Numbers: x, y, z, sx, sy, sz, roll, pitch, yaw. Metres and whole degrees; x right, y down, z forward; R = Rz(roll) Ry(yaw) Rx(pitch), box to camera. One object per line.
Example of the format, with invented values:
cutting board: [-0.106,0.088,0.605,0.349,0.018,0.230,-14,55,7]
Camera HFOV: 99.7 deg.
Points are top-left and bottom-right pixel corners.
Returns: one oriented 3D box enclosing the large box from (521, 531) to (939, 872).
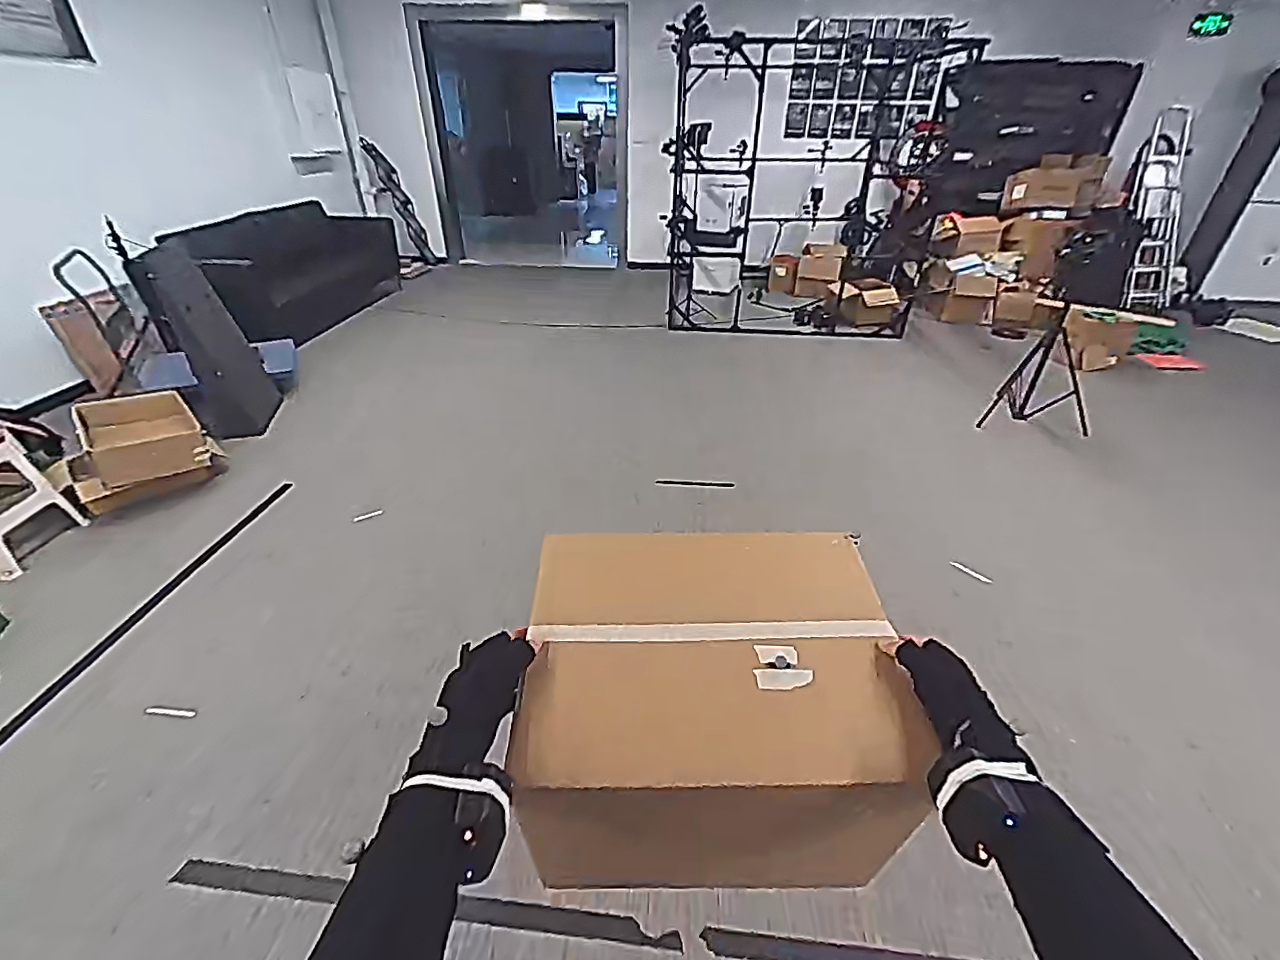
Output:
large box: [0.081,0.283,0.710,0.408,0.320,0.320,0,40,0]
